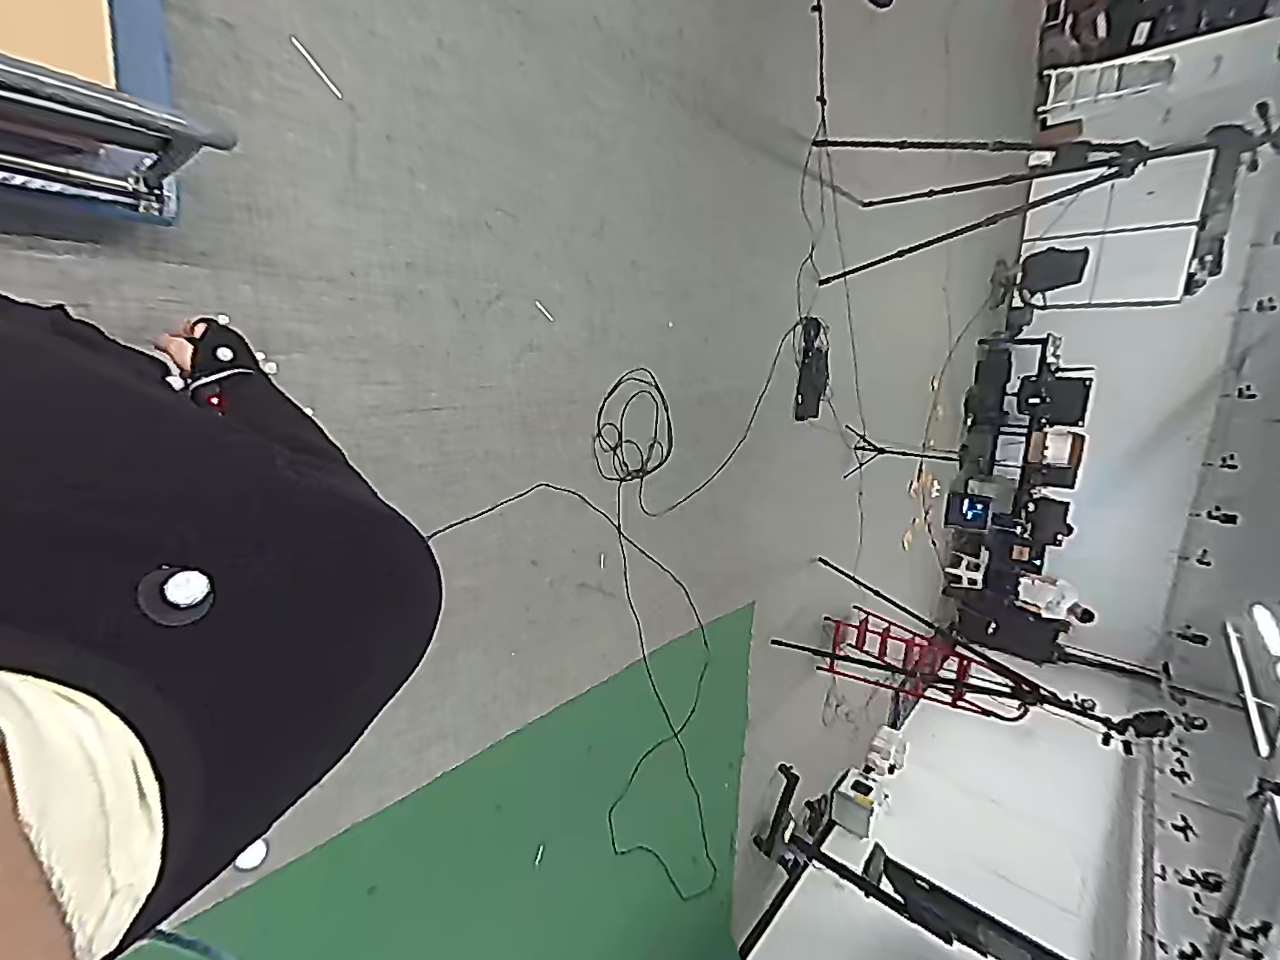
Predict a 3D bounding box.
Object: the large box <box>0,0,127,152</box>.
[{"bbox_3d":[-0.970,-0.757,0.758,0.320,0.320,0.408,-8,104,-47],"label":"large box"}]
